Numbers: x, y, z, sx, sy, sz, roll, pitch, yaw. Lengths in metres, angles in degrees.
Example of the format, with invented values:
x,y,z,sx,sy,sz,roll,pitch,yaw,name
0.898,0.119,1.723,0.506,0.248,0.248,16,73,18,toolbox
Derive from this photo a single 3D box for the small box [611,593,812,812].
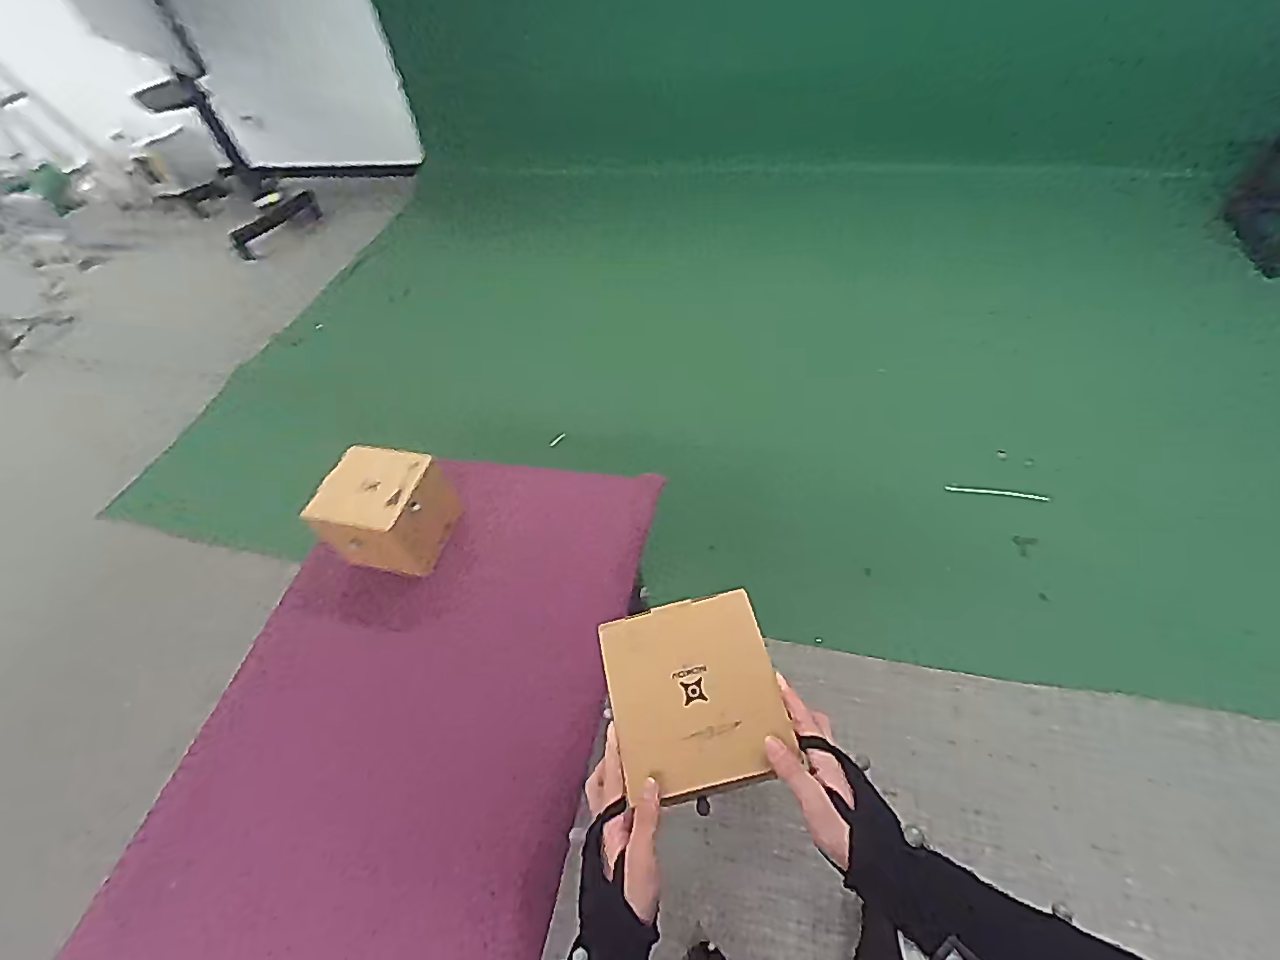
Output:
x,y,z,sx,sy,sz,roll,pitch,yaw,name
0.070,0.251,0.598,0.168,0.176,0.179,-13,57,0,small box

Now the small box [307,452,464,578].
x,y,z,sx,sy,sz,roll,pitch,yaw,name
-0.467,0.069,1.021,0.179,0.176,0.168,7,54,13,small box
